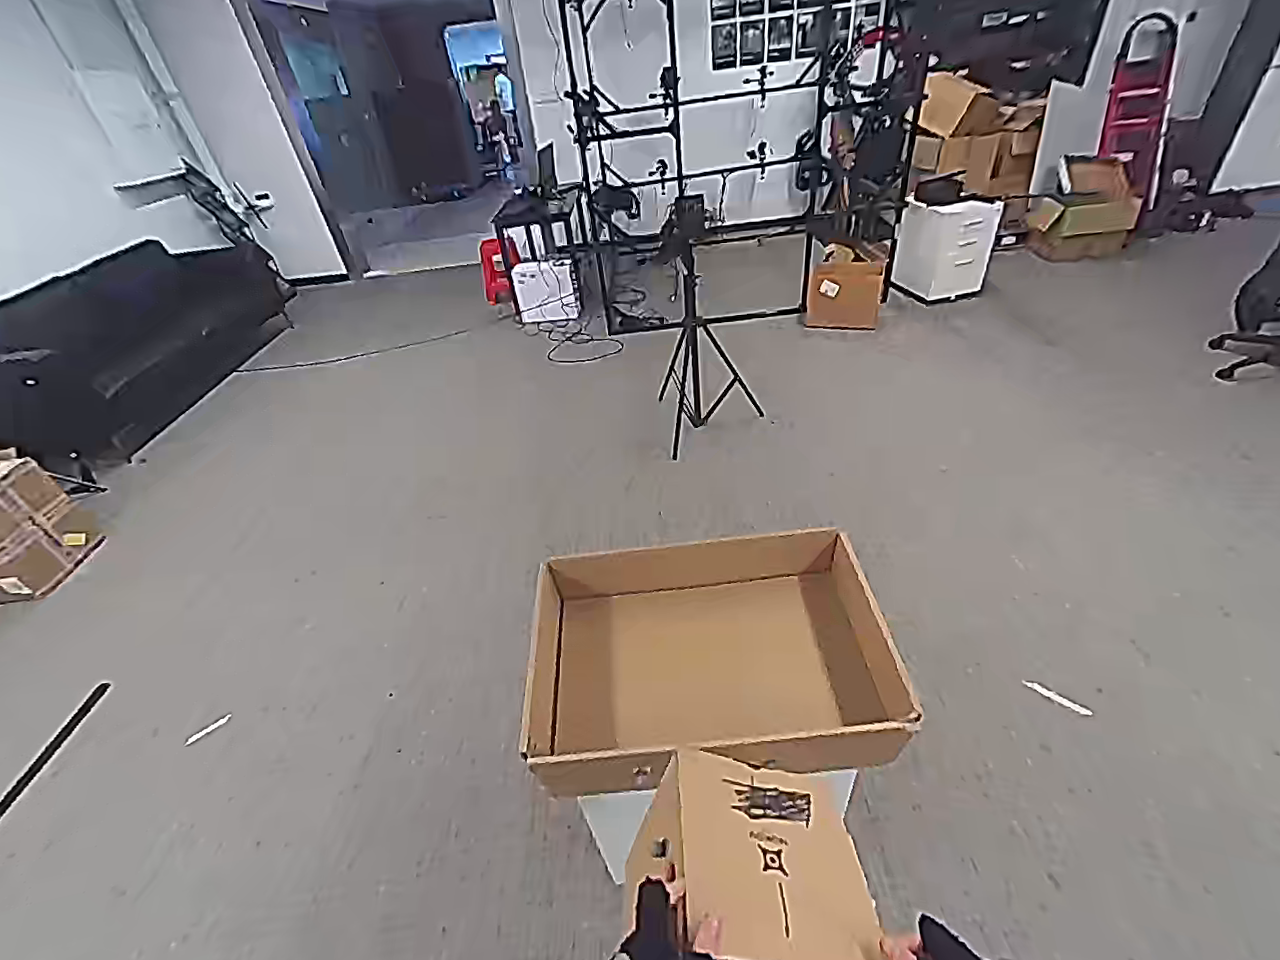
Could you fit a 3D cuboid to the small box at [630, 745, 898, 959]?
[{"bbox_3d":[0.091,0.385,0.486,0.168,0.176,0.179,16,19,-6],"label":"small box"}]
